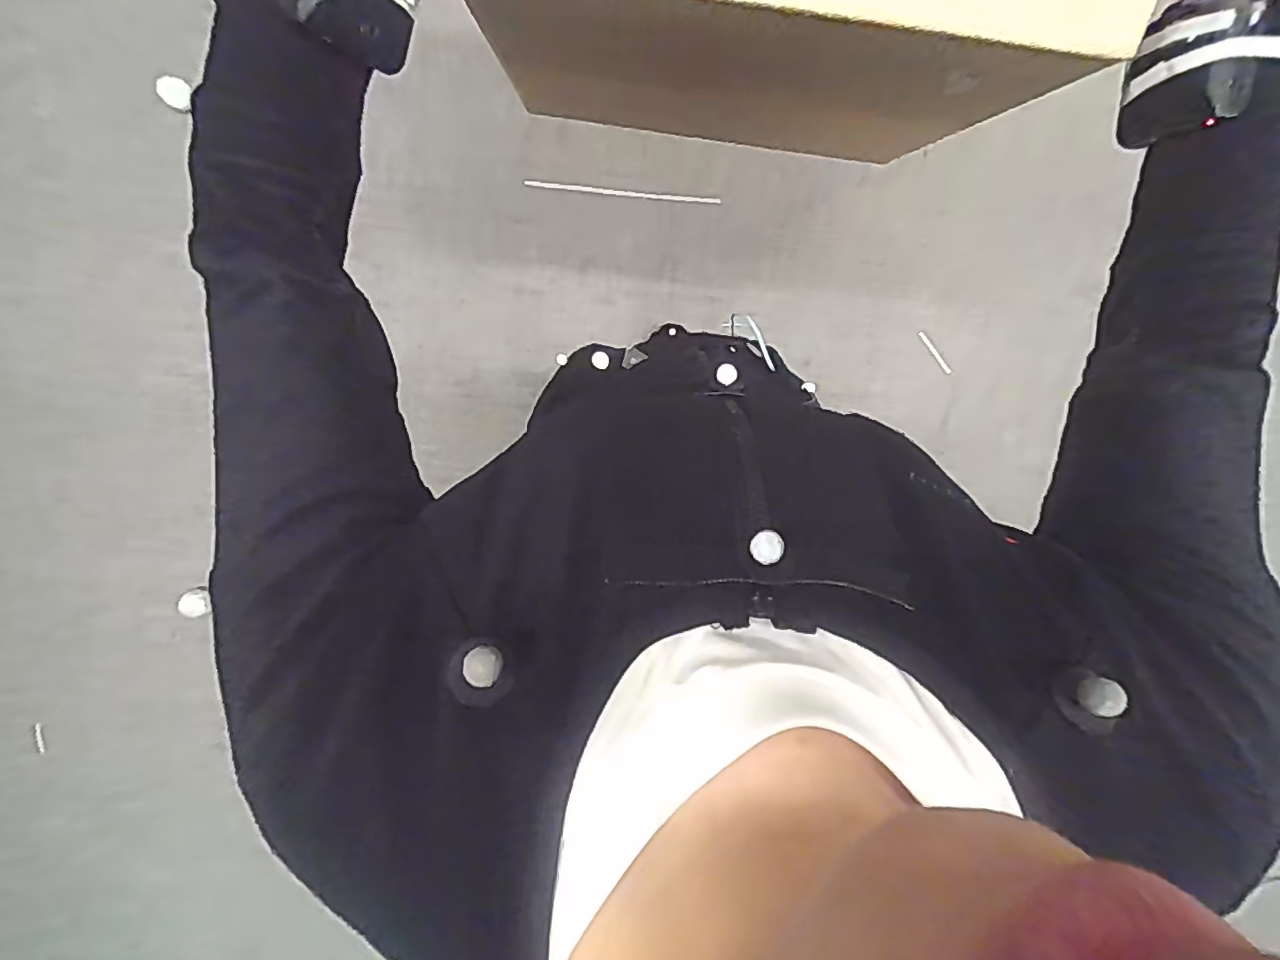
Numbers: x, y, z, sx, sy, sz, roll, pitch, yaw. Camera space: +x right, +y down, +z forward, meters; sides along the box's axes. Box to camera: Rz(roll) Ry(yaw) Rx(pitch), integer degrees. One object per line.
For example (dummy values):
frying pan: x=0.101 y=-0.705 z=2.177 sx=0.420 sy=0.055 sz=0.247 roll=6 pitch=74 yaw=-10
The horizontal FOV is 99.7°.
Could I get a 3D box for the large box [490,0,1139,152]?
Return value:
large box: x=0.102 y=-0.471 z=0.401 sx=0.408 sy=0.320 sz=0.320 roll=5 pitch=111 yaw=-5
